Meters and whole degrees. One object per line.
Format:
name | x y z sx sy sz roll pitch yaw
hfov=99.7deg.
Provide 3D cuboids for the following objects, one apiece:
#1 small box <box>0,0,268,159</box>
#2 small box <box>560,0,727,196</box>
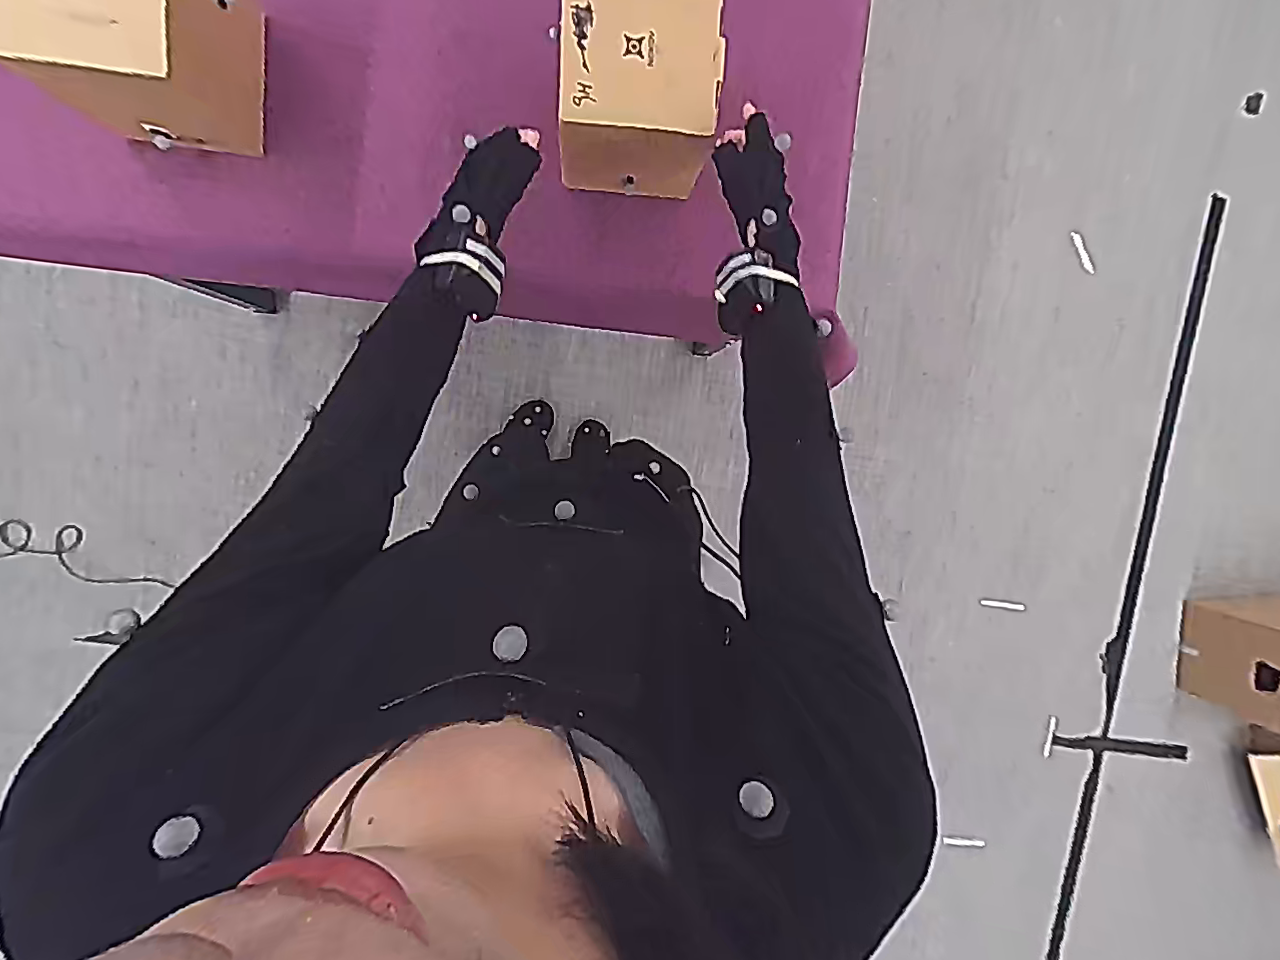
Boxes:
small box | -0.544 -0.494 0.597 0.168 0.176 0.179 3 96 -6
small box | -0.006 -0.470 0.662 0.179 0.176 0.168 2 95 -7
